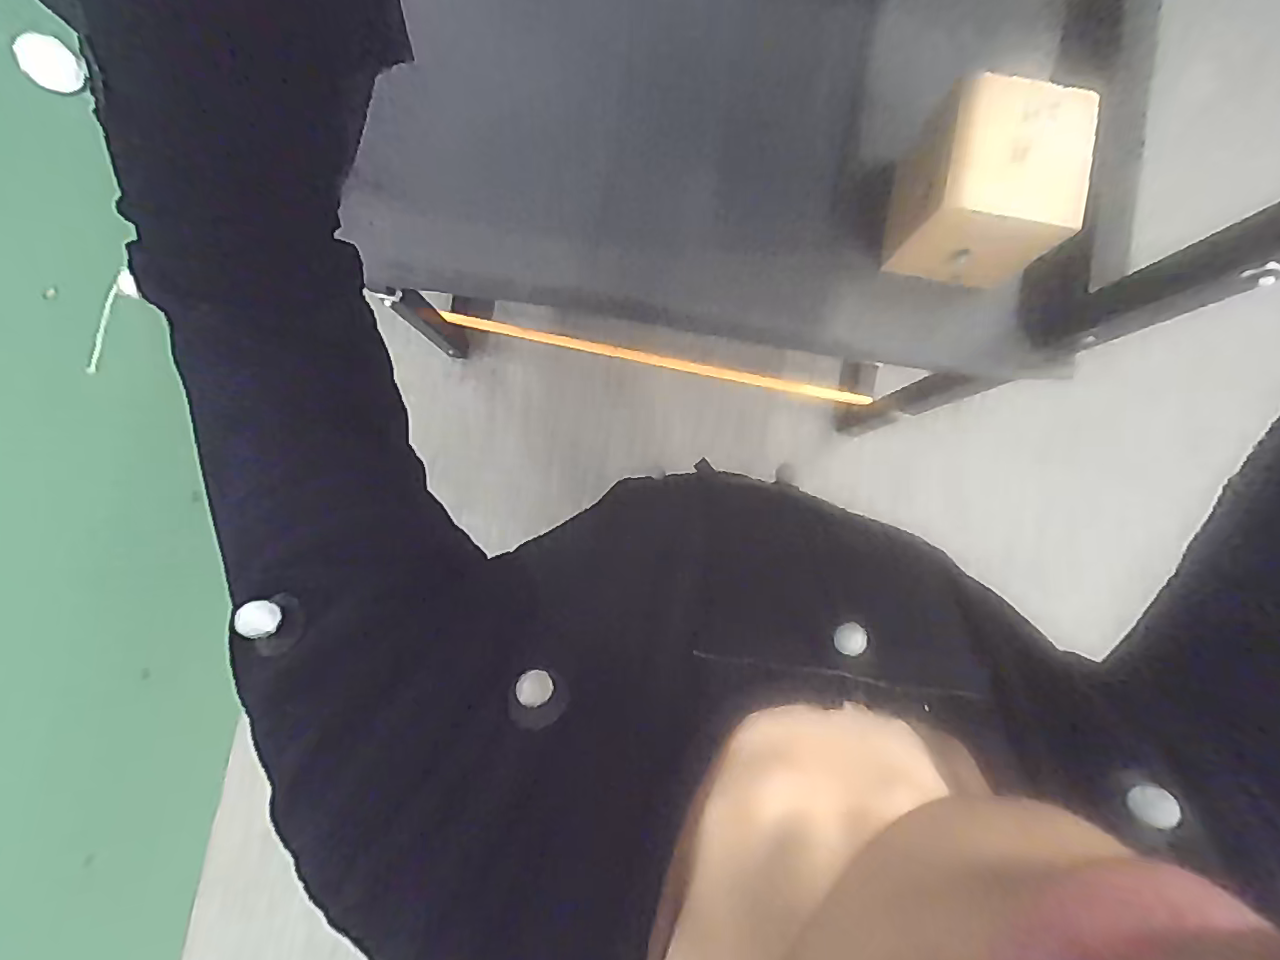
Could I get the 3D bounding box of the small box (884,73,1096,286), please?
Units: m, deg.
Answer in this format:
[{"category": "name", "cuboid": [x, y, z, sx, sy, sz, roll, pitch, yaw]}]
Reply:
[{"category": "small box", "cuboid": [0.448, -0.383, 0.720, 0.168, 0.176, 0.179, 11, 85, 1]}]
